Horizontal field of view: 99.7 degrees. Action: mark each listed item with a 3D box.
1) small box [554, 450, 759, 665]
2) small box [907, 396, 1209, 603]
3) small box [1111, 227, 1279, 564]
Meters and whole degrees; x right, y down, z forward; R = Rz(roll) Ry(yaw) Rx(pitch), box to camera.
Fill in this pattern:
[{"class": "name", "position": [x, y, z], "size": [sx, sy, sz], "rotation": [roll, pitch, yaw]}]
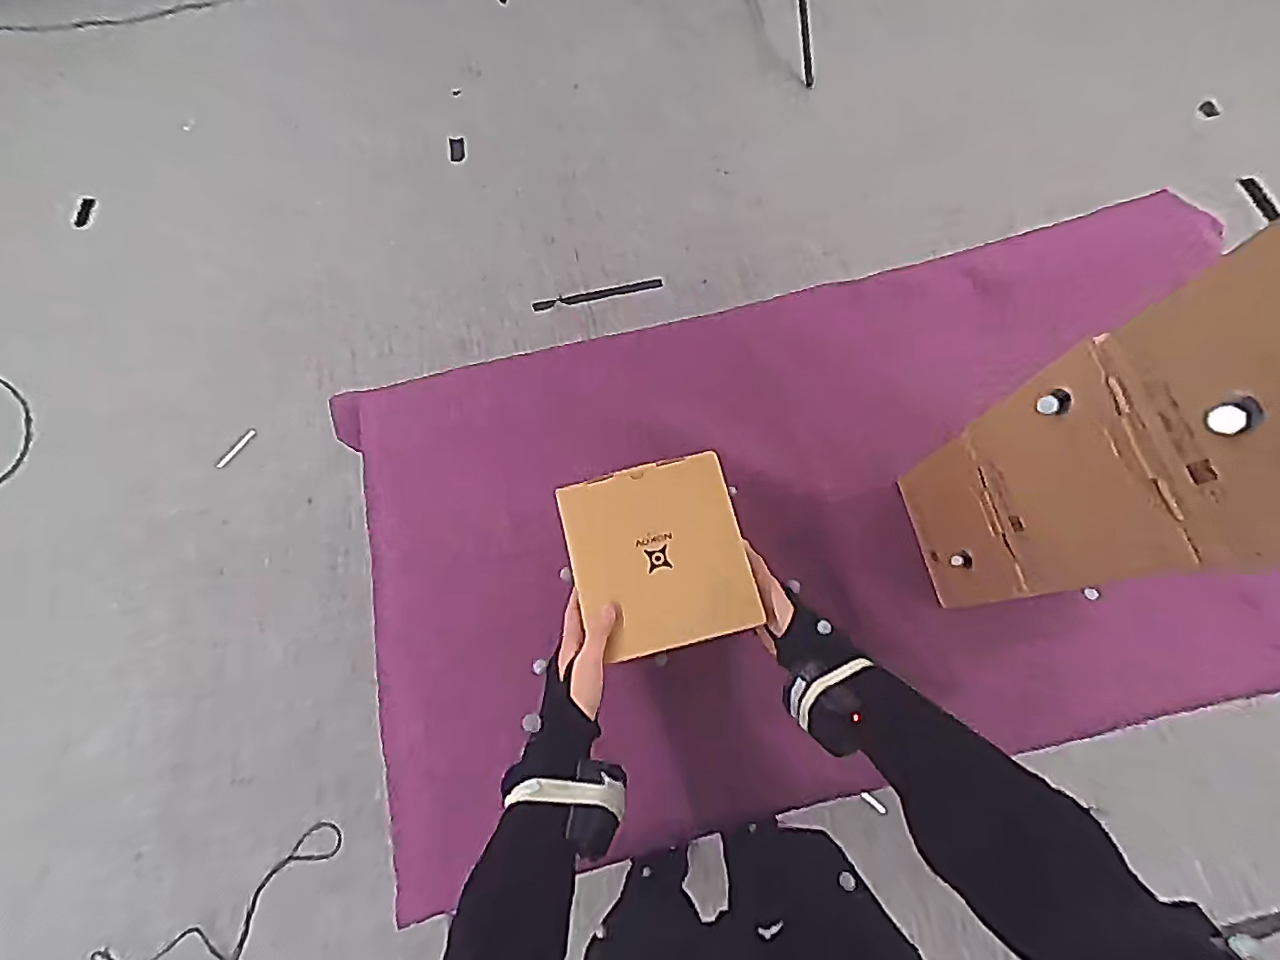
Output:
[{"class": "small box", "position": [0.018, 0.092, 0.590], "size": [0.168, 0.176, 0.179], "rotation": [-15, 72, -1]}, {"class": "small box", "position": [0.418, 0.032, 0.585], "size": [0.179, 0.176, 0.168], "rotation": [-11, 73, -1]}, {"class": "small box", "position": [0.410, -0.063, 0.269], "size": [0.179, 0.176, 0.168], "rotation": [-12, 72, 0]}]
